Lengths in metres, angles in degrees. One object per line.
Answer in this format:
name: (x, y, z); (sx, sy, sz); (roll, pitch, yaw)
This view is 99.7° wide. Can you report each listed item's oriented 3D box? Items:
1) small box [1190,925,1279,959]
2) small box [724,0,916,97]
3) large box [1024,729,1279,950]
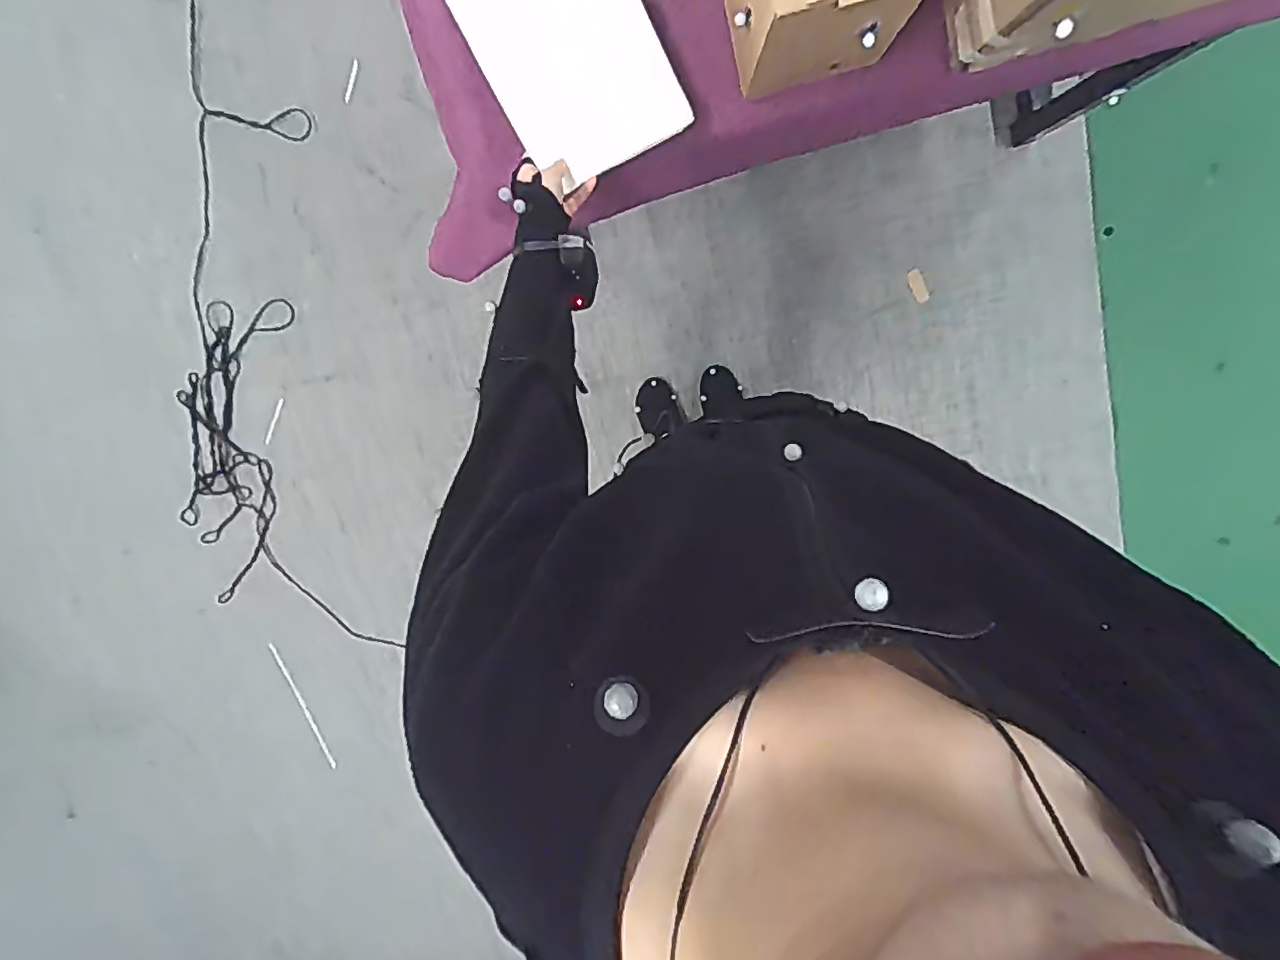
small box: (1.347, 1.120, 1.158); (0.179, 0.176, 0.168); (-29, 100, 6)
small box: (0.184, -0.540, 0.565); (0.168, 0.176, 0.179); (-14, 100, 4)
large box: (1.439, 1.010, 1.552); (0.408, 0.320, 0.320); (-30, 101, 6)
